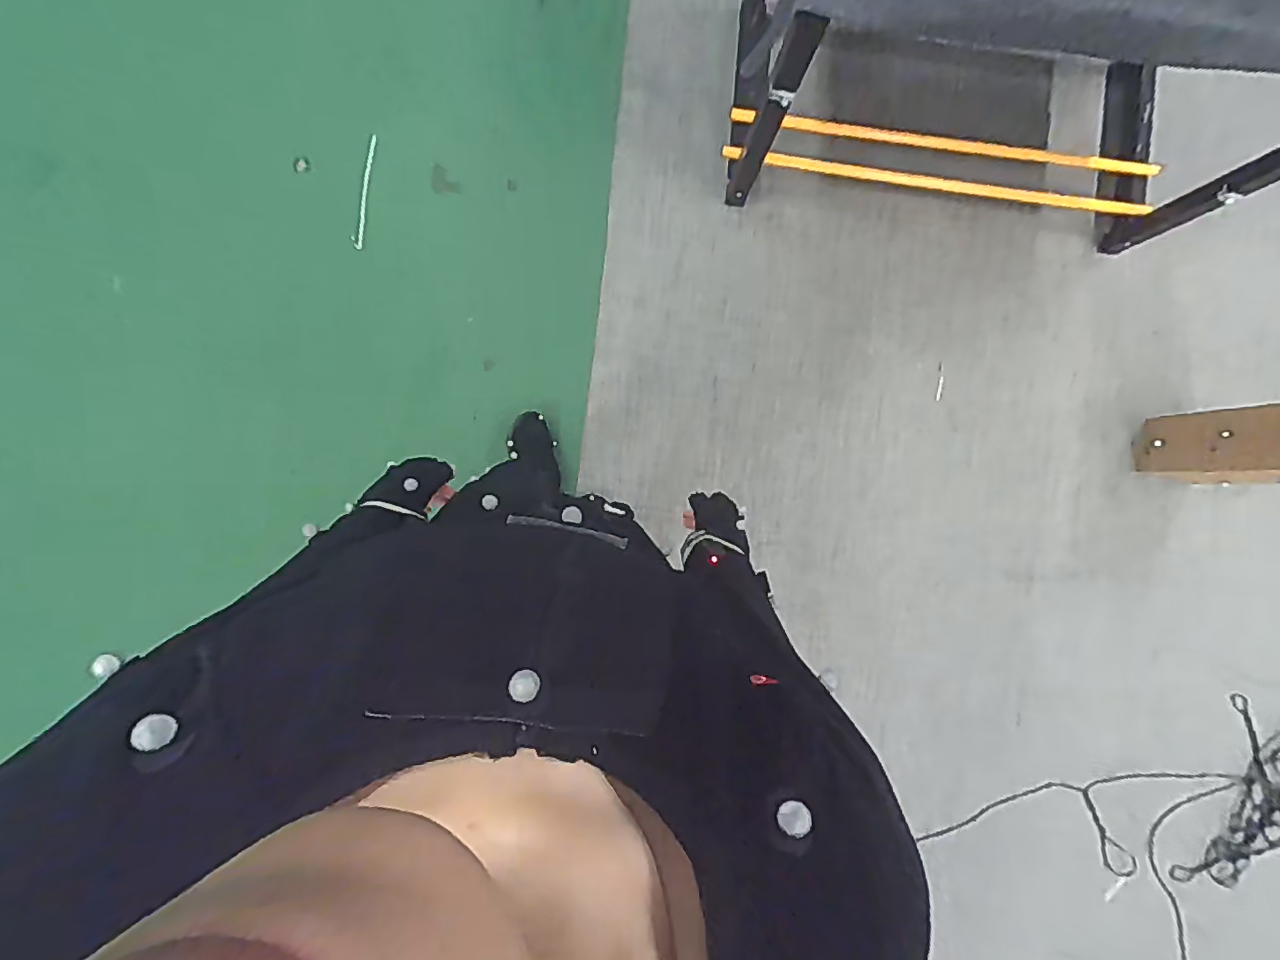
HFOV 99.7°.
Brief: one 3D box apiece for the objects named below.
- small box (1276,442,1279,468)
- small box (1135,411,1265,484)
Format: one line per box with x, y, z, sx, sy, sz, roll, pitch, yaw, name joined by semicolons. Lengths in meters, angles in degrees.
1.574;-0.091;1.183;0.179;0.176;0.168;9;90;-4;small box
1.554;-0.087;1.509;0.179;0.176;0.168;11;88;-3;small box
